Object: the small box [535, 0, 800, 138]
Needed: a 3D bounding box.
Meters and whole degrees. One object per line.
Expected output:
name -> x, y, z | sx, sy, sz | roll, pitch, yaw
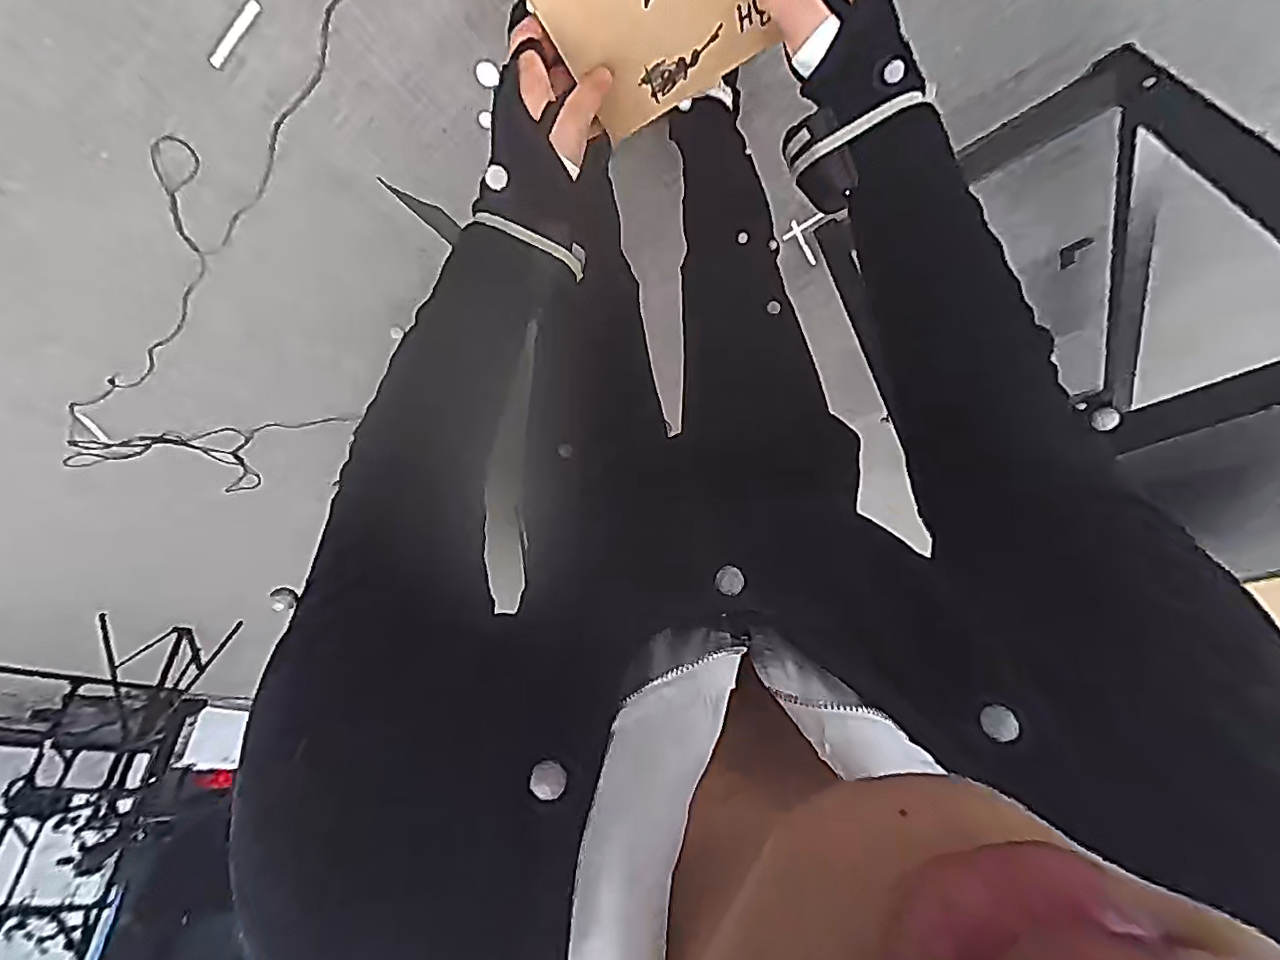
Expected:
small box -> 0.006, -0.421, 0.414 | 0.168, 0.176, 0.179 | -18, 142, 26
